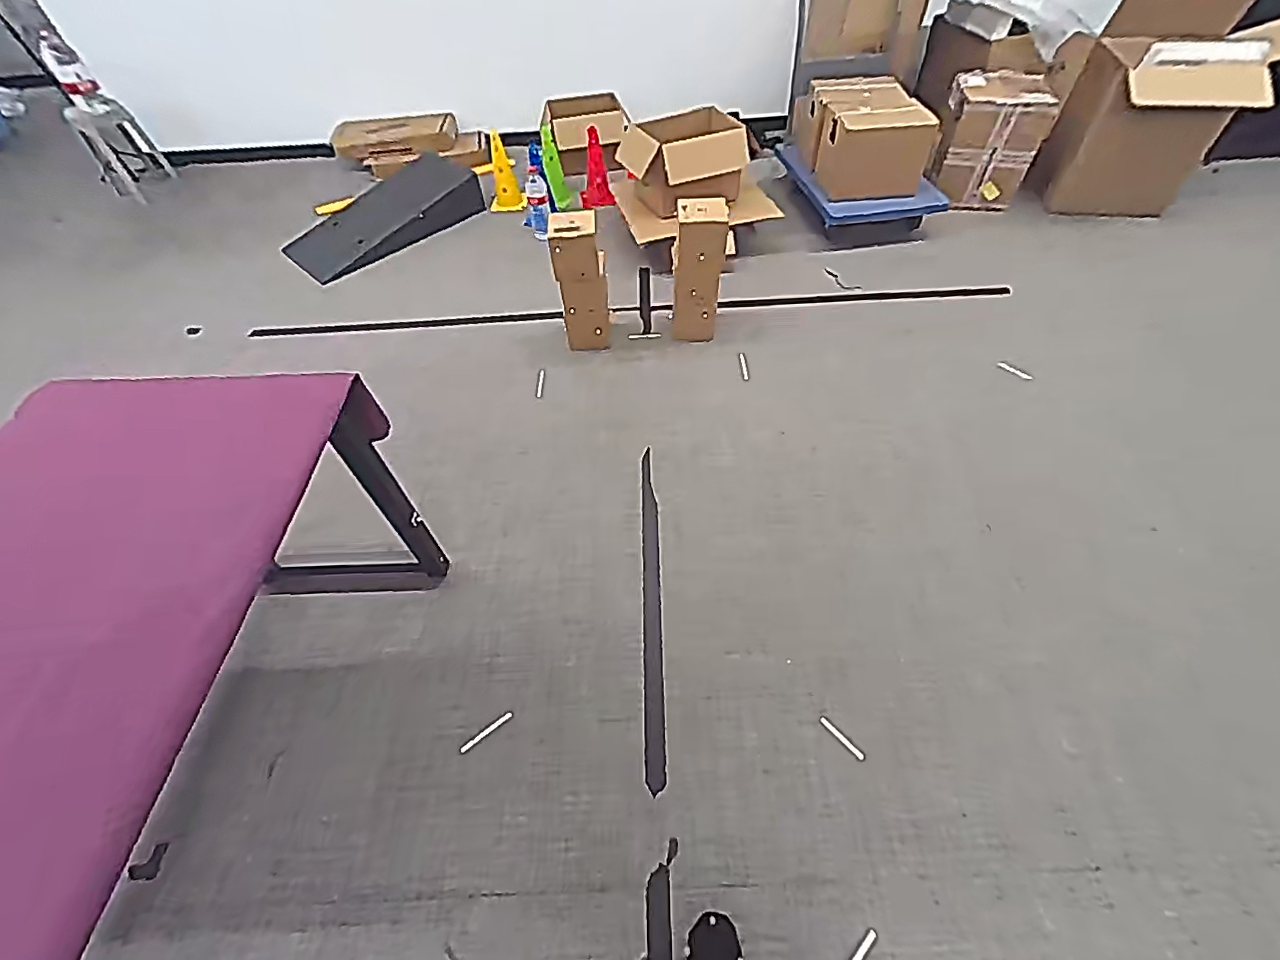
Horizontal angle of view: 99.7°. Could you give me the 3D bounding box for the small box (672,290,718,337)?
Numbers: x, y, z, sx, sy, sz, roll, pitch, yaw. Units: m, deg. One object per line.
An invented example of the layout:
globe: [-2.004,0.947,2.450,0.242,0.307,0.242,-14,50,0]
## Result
small box: [0.223,-0.702,2.218,0.179,0.176,0.168,2,52,3]

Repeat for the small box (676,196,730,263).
small box: [0.223,-0.905,1.962,0.179,0.176,0.168,0,53,1]

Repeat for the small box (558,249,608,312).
small box: [-0.213,-0.762,2.078,0.168,0.176,0.179,-2,51,1]

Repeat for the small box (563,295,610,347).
small box: [-0.213,-0.661,2.208,0.179,0.176,0.168,-5,51,0]

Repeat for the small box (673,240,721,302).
small box: [0.217,-0.812,2.097,0.168,0.176,0.179,-2,53,0]
